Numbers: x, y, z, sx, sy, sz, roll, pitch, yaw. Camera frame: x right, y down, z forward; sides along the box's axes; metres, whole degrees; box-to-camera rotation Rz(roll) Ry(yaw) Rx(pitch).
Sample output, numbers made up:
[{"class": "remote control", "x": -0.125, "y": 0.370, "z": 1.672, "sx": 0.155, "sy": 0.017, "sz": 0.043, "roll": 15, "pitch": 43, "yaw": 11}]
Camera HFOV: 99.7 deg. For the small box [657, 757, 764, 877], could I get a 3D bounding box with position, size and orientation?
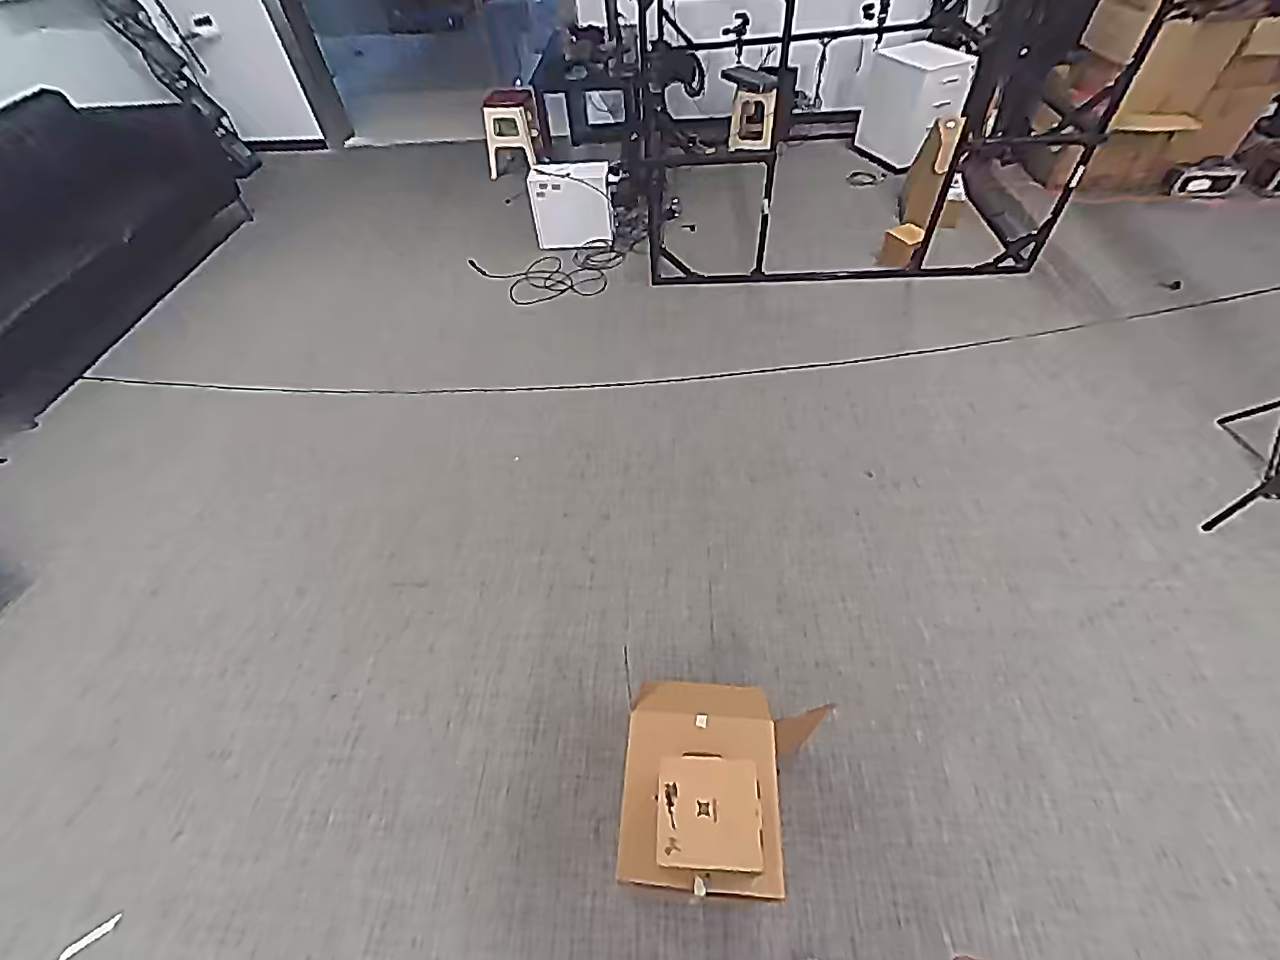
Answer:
[{"class": "small box", "x": 0.124, "y": 0.619, "z": 0.991, "sx": 0.179, "sy": 0.176, "sz": 0.168, "roll": 1, "pitch": 52, "yaw": 5}]
